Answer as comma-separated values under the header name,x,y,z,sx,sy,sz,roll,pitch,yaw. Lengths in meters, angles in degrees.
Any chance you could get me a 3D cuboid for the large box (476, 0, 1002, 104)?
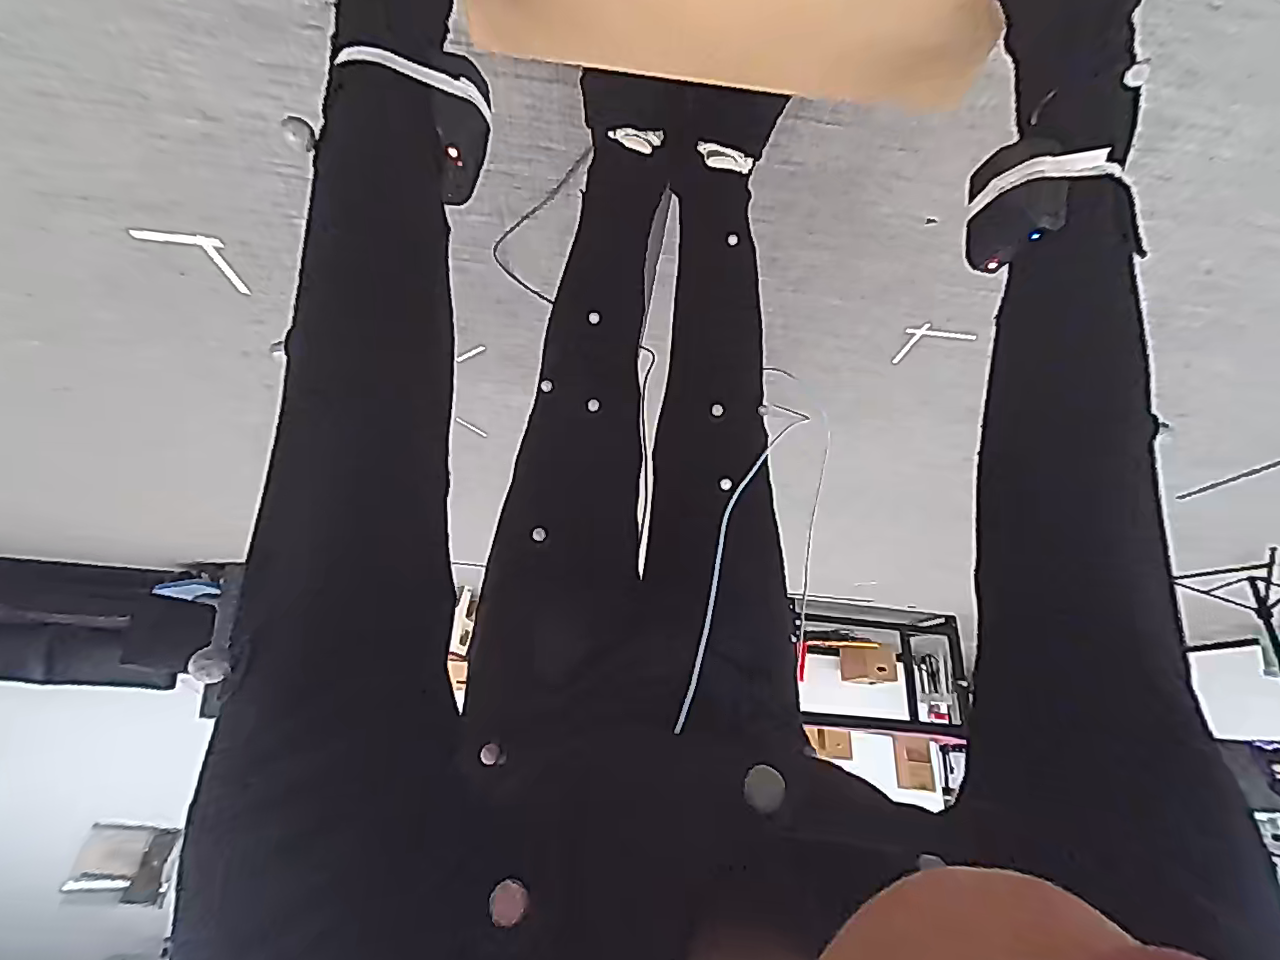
name,x,y,z,sx,sy,sz,roll,pitch,yaw
large box,0.085,-0.538,0.383,0.408,0.320,0.320,6,157,-2
